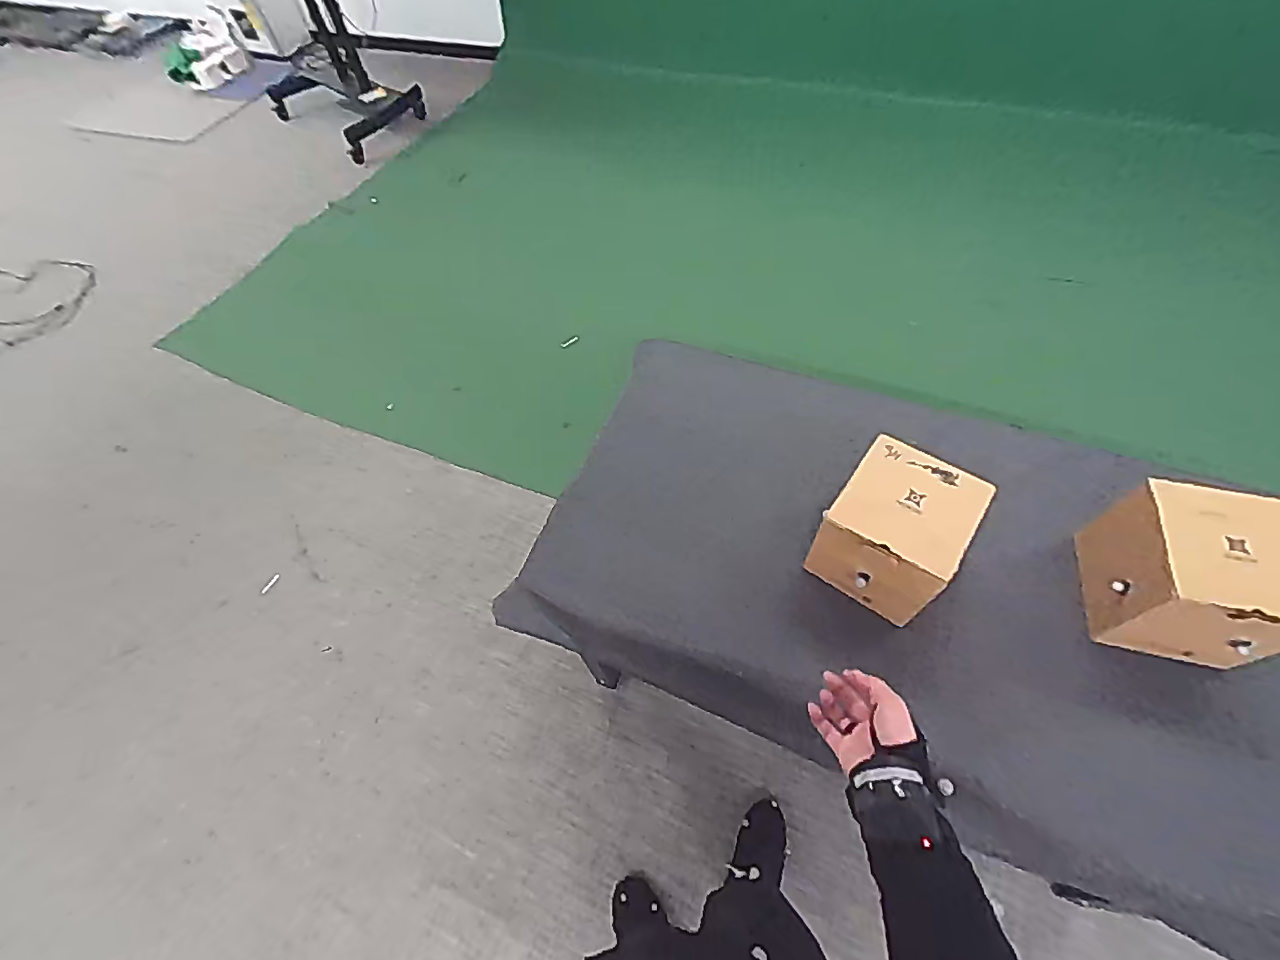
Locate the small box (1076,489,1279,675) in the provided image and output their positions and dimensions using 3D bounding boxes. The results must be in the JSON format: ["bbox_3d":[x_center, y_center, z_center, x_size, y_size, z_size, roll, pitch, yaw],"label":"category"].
[{"bbox_3d":[0.732,0.142,0.725,0.168,0.176,0.179,12,57,11],"label":"small box"}]

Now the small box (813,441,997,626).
[{"bbox_3d":[0.372,0.083,0.792,0.168,0.176,0.179,33,65,22],"label":"small box"}]
